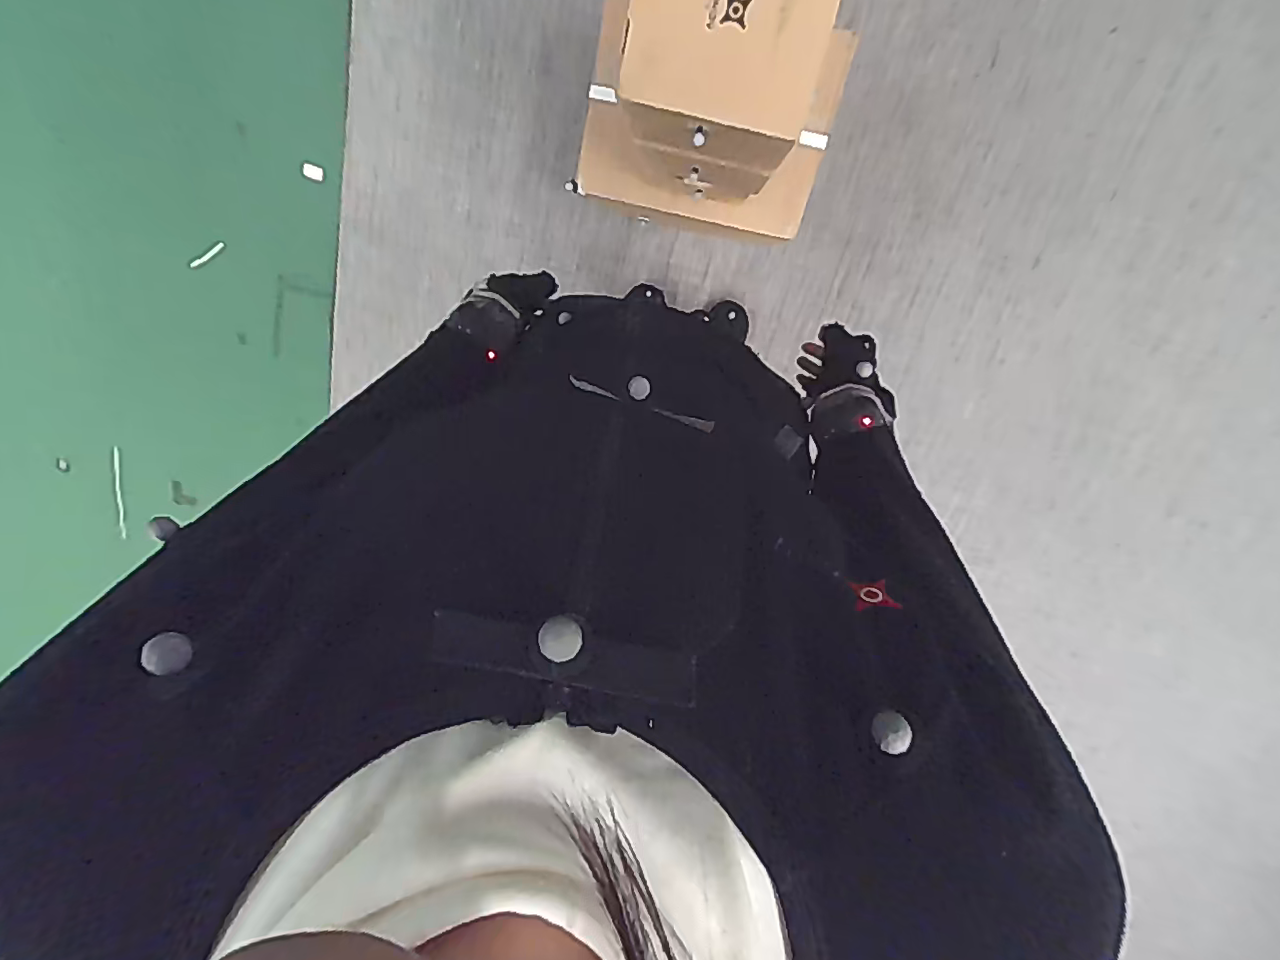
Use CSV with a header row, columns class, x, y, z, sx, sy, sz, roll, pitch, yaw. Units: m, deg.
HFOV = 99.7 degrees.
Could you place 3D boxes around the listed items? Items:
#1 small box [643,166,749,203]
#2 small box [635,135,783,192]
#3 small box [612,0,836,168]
class,x,y,z,sx,sy,sz,roll,pitch,yaw
small box,0.110,-0.546,0.842,0.168,0.176,0.179,12,112,2
small box,0.099,-0.480,0.691,0.179,0.176,0.168,11,112,1
small box,0.084,-0.429,0.538,0.179,0.176,0.168,14,112,0
